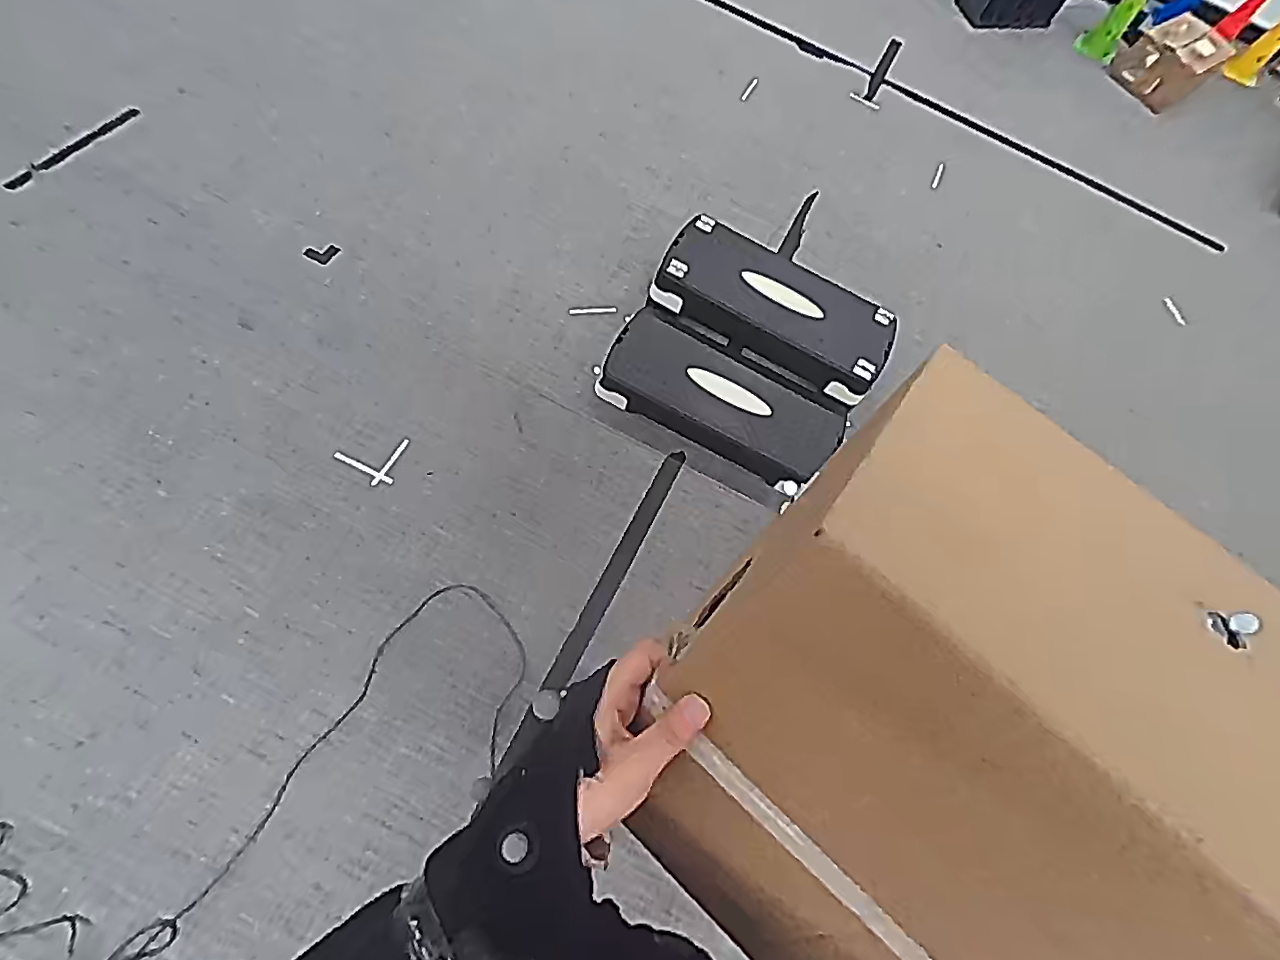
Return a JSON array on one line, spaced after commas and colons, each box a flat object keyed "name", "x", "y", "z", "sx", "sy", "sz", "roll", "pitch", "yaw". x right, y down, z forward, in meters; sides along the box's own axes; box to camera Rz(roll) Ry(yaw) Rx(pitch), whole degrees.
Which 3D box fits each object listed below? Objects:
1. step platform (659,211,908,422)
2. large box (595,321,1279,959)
[{"name": "step platform", "x": 0.402, "y": -0.469, "z": 1.540, "sx": 0.684, "sy": 0.204, "sz": 0.286, "roll": 34, "pitch": 66, "yaw": 3}, {"name": "large box", "x": 0.250, "y": 0.153, "z": 0.369, "sx": 0.408, "sy": 0.320, "sz": 0.320, "roll": 41, "pitch": 43, "yaw": 11}]
